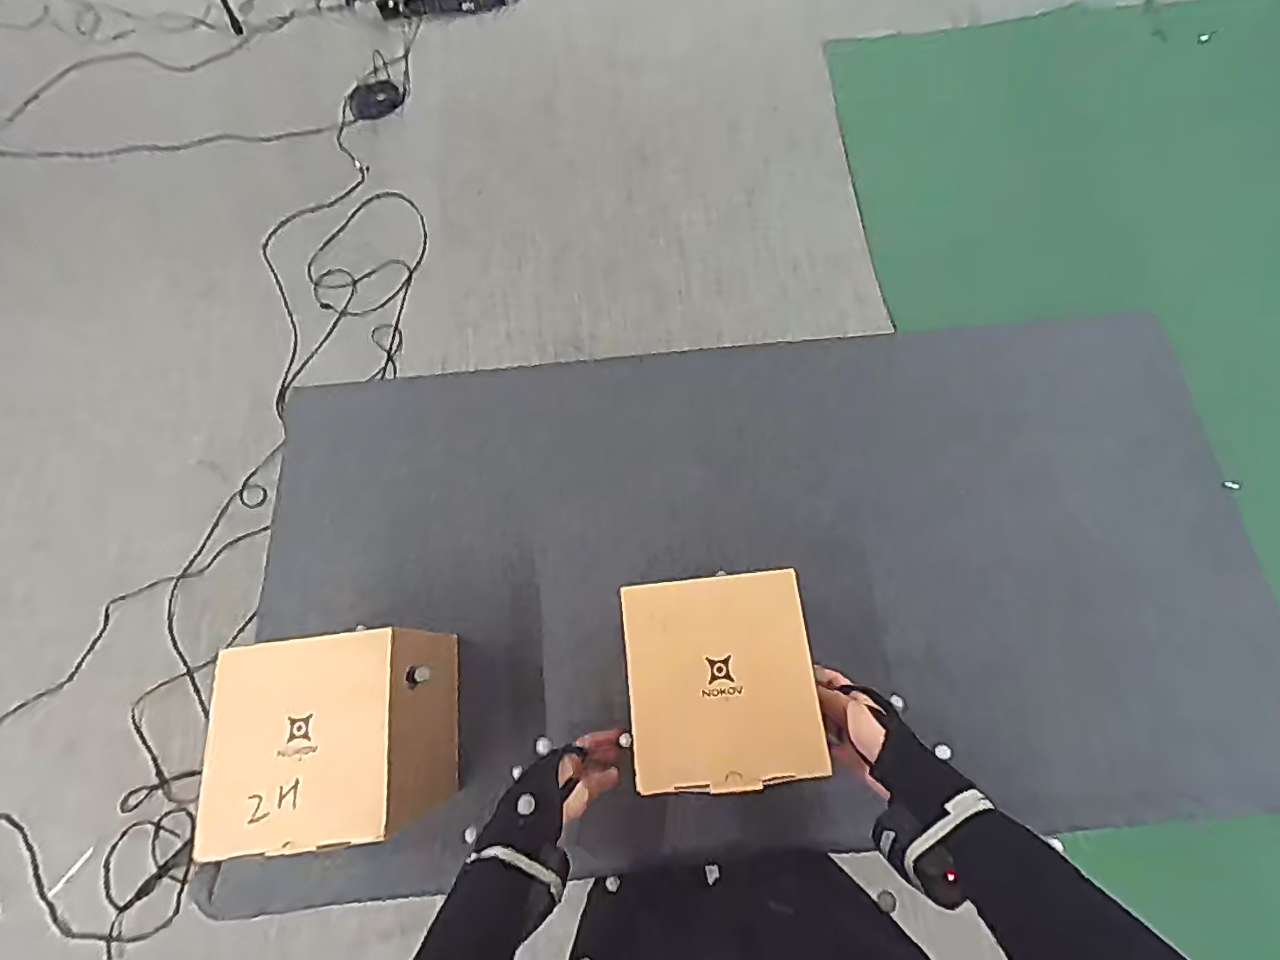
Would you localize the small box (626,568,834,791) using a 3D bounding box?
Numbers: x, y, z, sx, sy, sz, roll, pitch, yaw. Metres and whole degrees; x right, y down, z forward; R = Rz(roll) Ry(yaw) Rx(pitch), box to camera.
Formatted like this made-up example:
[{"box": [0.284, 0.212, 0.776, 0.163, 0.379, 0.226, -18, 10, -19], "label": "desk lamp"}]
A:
[{"box": [0.076, 0.196, 0.553, 0.168, 0.176, 0.179, -6, 72, 1], "label": "small box"}]

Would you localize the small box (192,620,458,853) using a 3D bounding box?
[{"box": [-0.295, 0.247, 0.551, 0.168, 0.176, 0.179, -7, 71, 1], "label": "small box"}]
